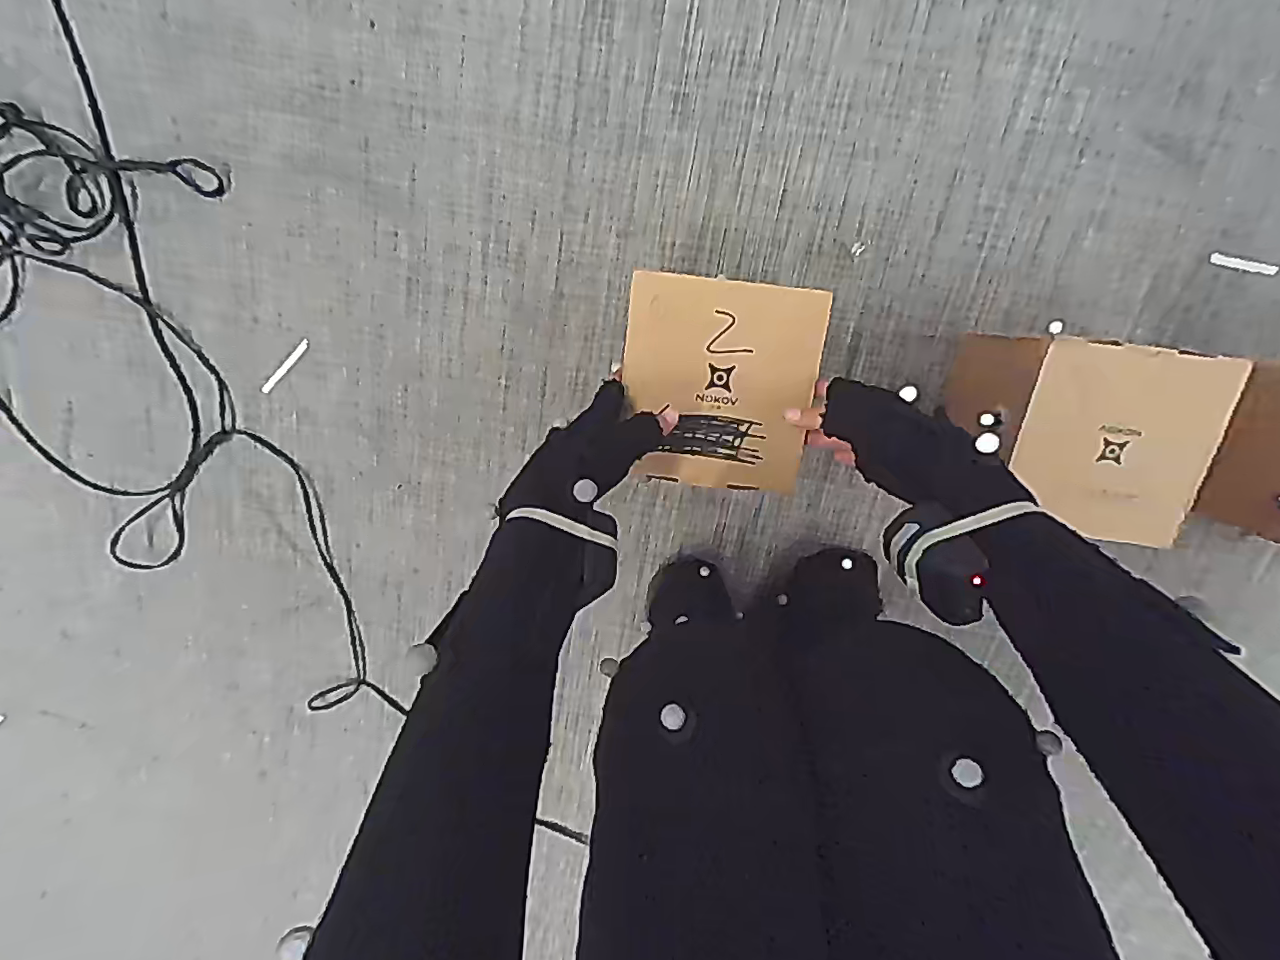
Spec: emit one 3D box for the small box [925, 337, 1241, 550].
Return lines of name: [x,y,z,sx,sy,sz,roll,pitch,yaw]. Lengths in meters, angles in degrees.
small box: [0.425,-0.050,0.560,0.168,0.176,0.179,8,108,4]
